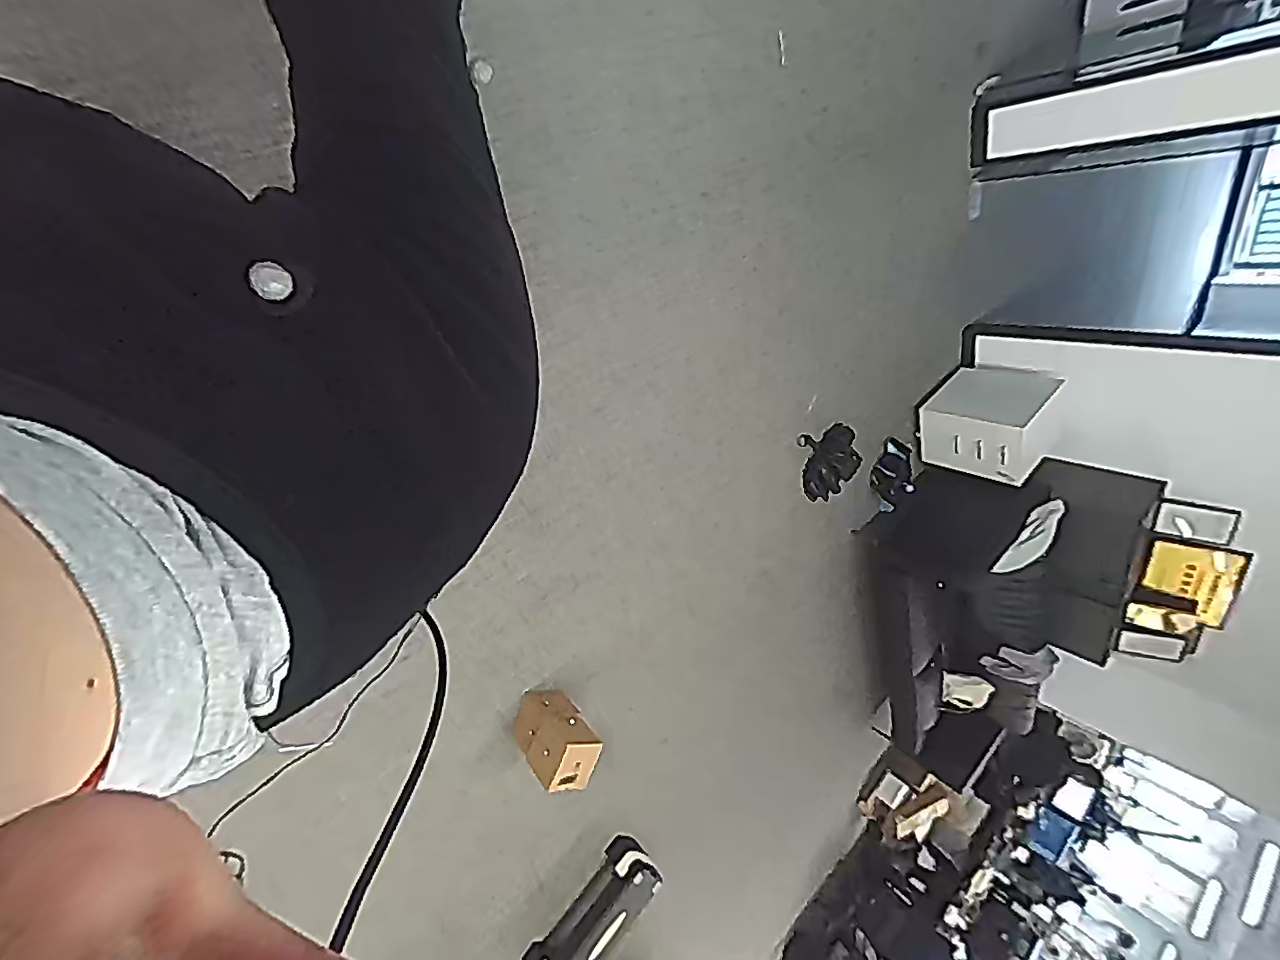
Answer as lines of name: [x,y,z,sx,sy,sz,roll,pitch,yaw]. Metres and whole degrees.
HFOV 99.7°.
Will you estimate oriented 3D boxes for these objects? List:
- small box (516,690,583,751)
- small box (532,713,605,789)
small box: [-0.346,0.910,2.039,0.168,0.176,0.179,12,99,-41]
small box: [-0.257,0.949,1.905,0.168,0.176,0.179,22,90,-42]
